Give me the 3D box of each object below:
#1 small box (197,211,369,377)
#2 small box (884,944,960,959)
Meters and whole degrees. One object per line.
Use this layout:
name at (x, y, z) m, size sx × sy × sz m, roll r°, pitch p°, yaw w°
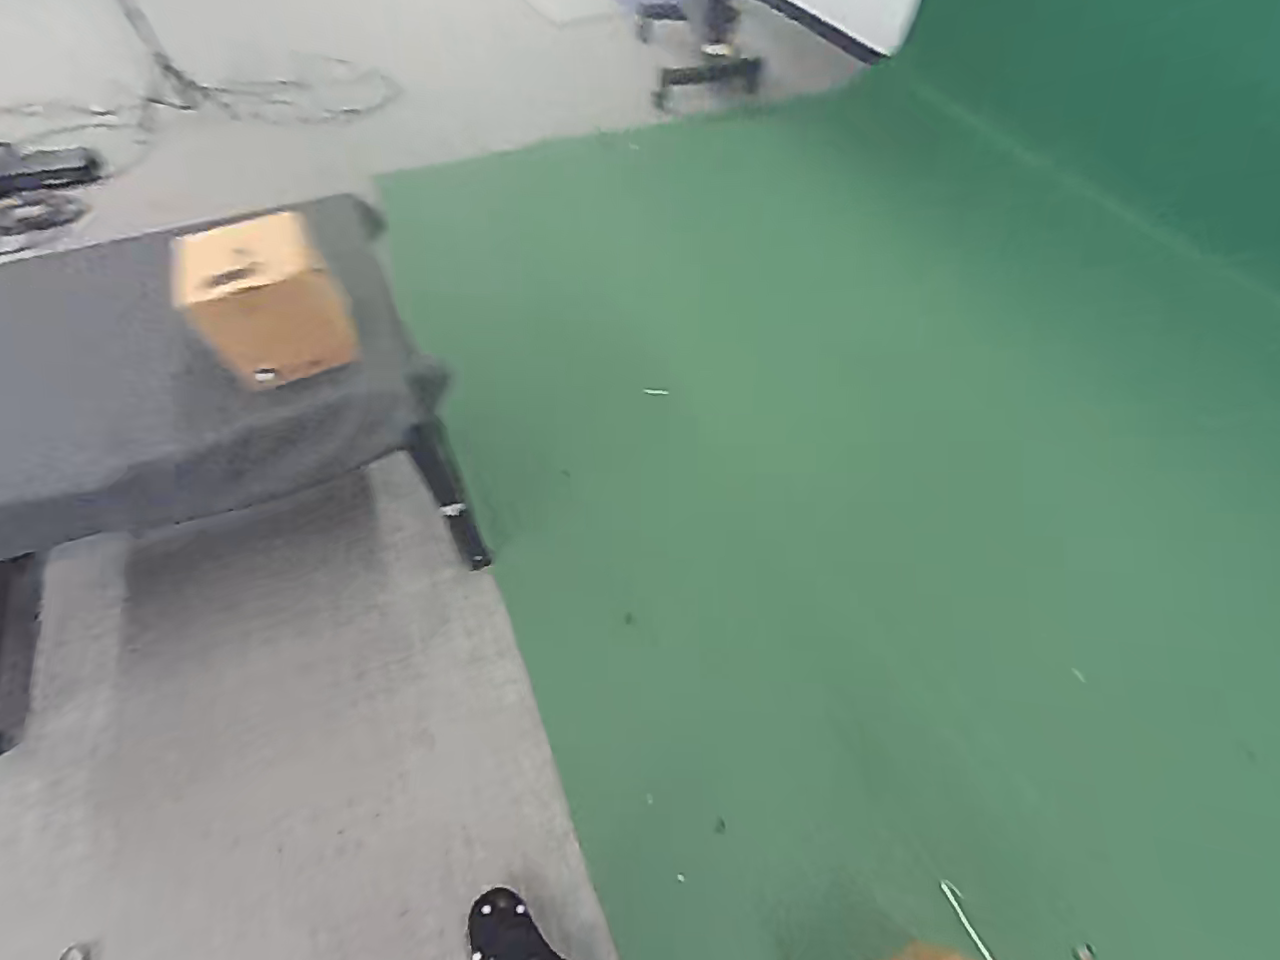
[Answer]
small box at (-0.551, -0.284, 0.852) m, size 0.168 × 0.176 × 0.179 m, roll -20°, pitch 58°, yaw -12°
small box at (0.493, 0.949, 0.938) m, size 0.179 × 0.176 × 0.168 m, roll -18°, pitch 58°, yaw -11°
